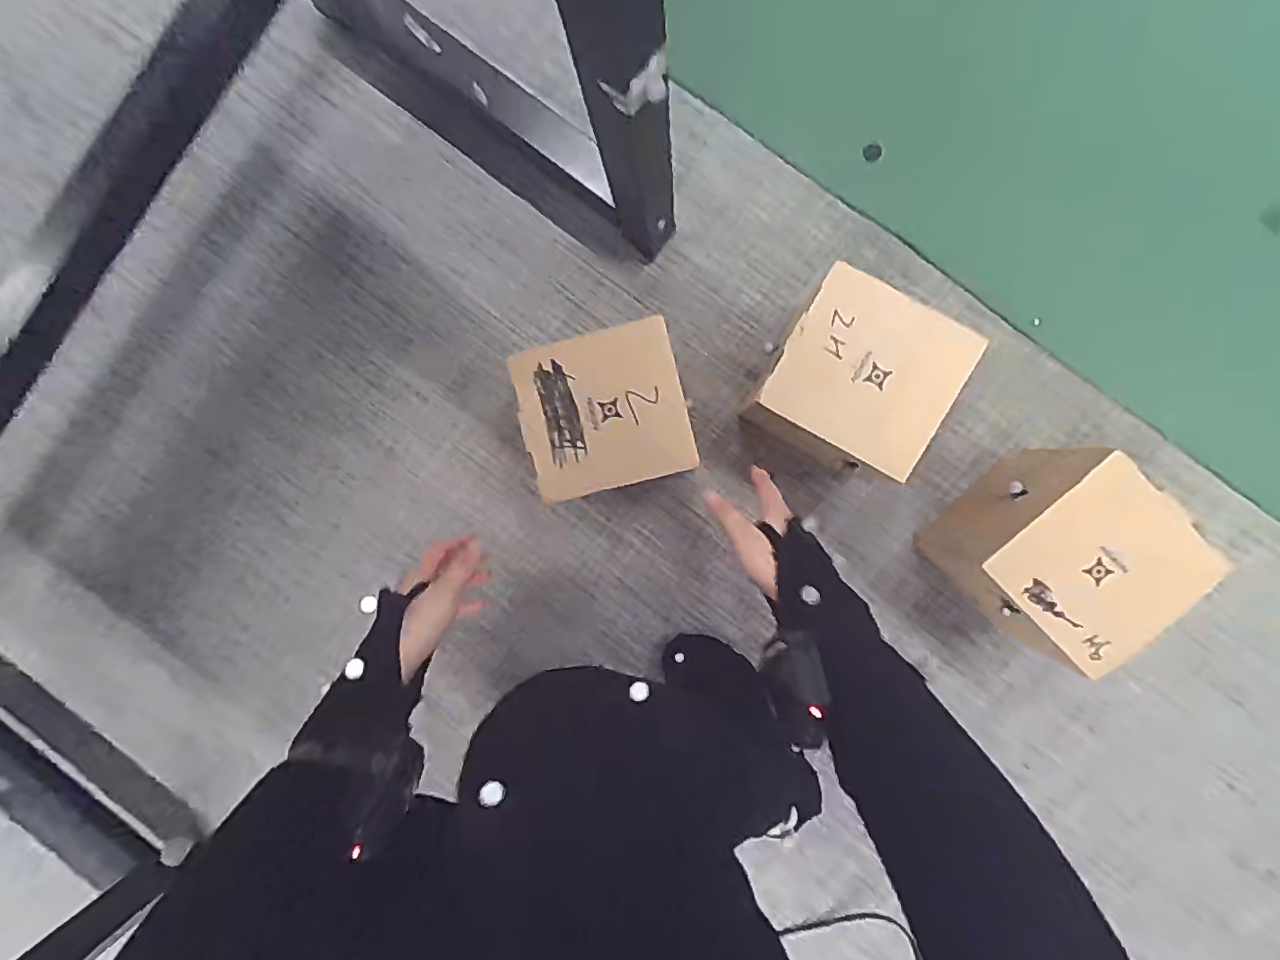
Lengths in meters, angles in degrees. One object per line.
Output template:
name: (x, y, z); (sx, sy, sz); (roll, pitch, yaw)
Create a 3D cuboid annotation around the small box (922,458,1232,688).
small box: (0.467, 0.089, 0.613); (0.179, 0.176, 0.168); (-43, 89, 5)

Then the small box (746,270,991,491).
small box: (0.243, -0.105, 0.625); (0.179, 0.176, 0.168); (30, 94, 3)
